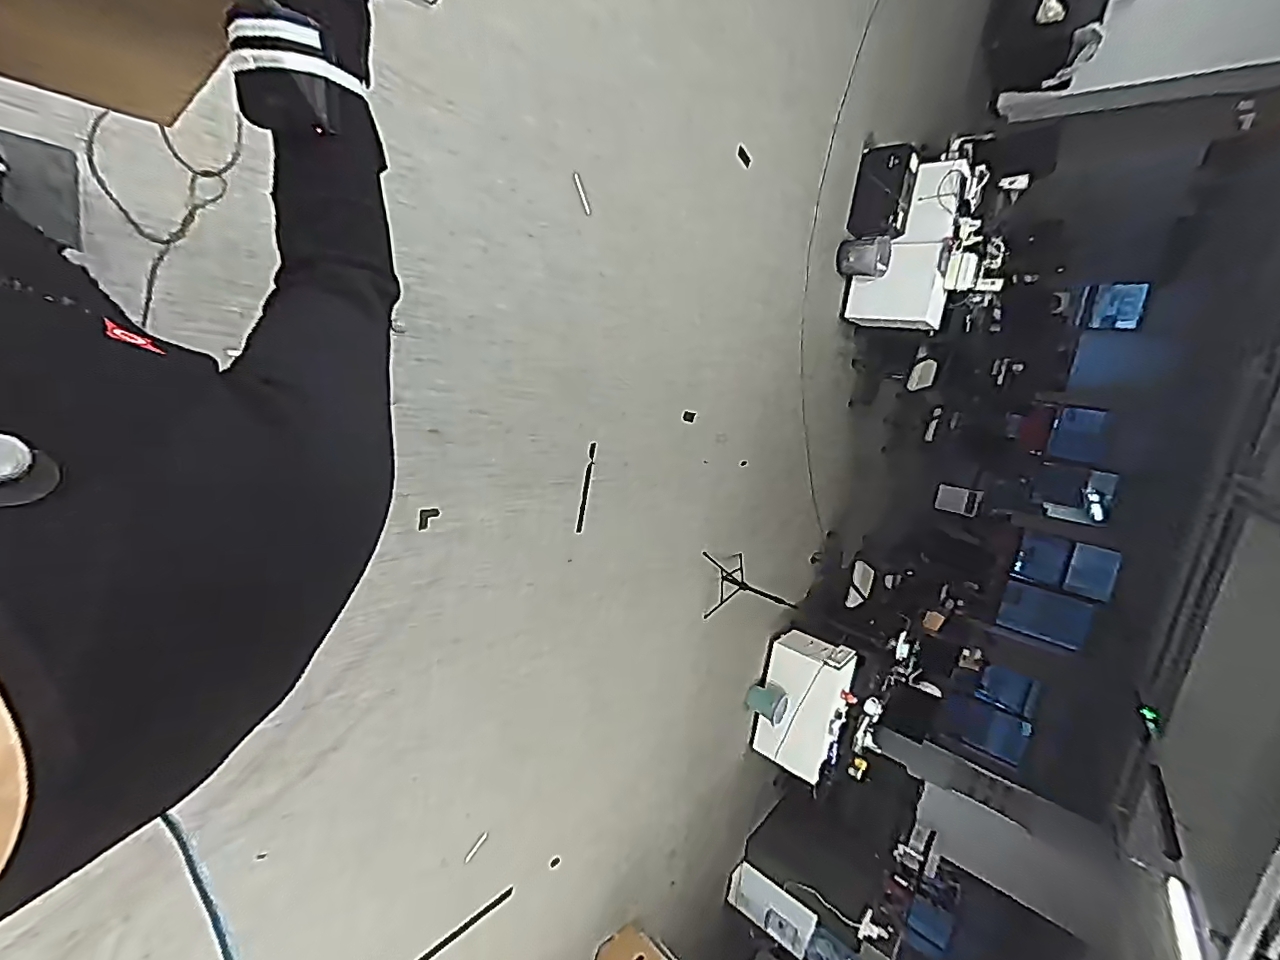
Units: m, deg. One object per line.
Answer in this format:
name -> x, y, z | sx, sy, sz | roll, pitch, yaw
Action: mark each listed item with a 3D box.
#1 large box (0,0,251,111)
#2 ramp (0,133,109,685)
large box -> -0.470, -0.463, 0.260 | 0.408, 0.320, 0.320 | -10, 106, -50
ramp -> -1.240, -0.112, 0.881 | 0.509, 0.206, 0.991 | -7, 108, -49
